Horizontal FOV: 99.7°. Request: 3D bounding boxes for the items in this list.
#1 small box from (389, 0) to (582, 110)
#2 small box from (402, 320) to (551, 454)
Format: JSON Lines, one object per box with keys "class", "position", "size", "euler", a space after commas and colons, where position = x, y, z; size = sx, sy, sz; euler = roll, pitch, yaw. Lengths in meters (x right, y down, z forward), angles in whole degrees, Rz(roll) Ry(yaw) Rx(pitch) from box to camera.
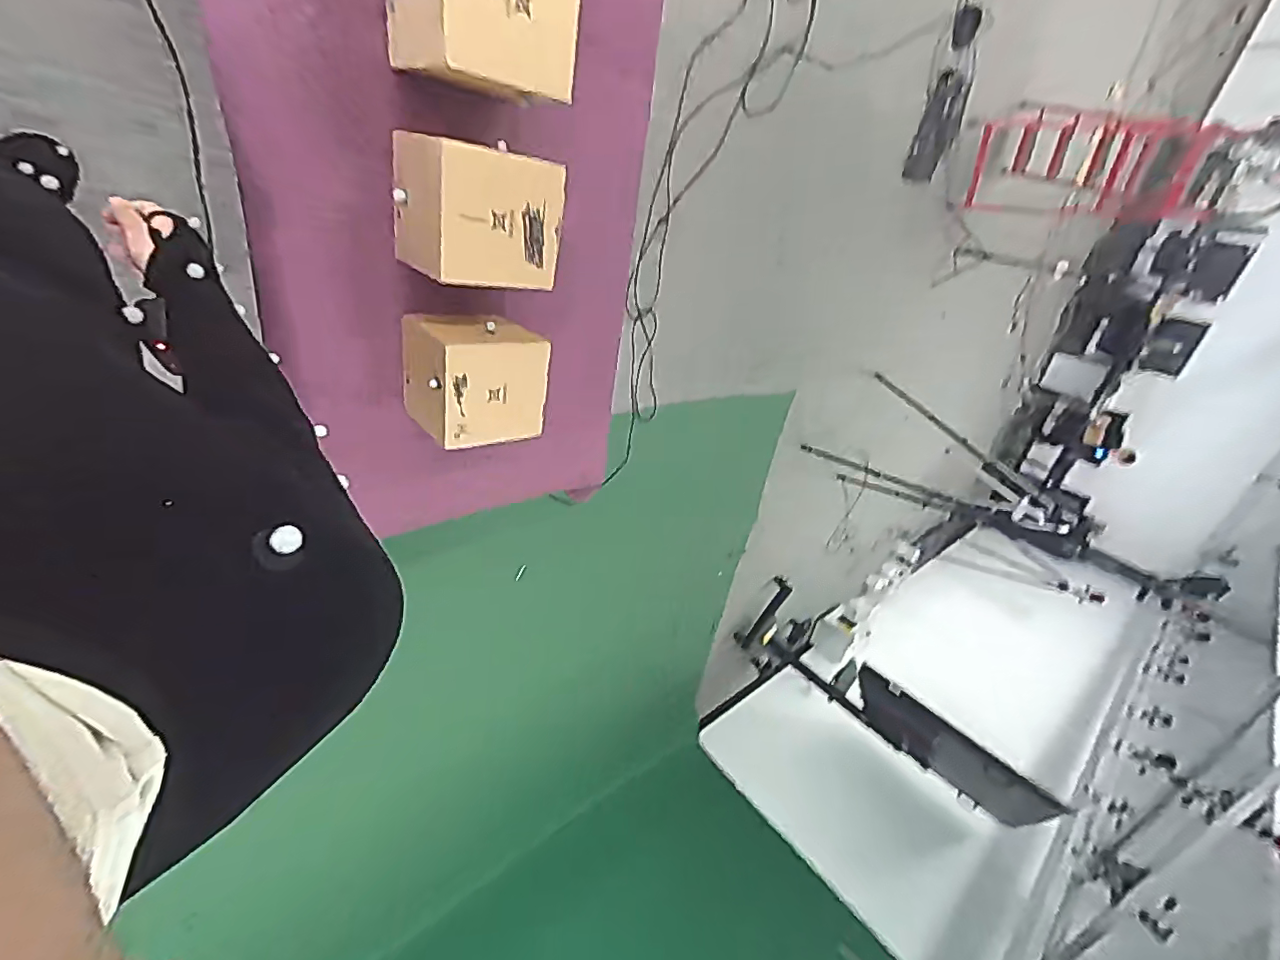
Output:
{"class": "small box", "position": [-0.192, -0.579, 0.669], "size": [0.179, 0.176, 0.168], "euler": [-14, 127, -39]}
{"class": "small box", "position": [-0.273, -0.162, 0.893], "size": [0.179, 0.176, 0.168], "euler": [-14, 126, -40]}
